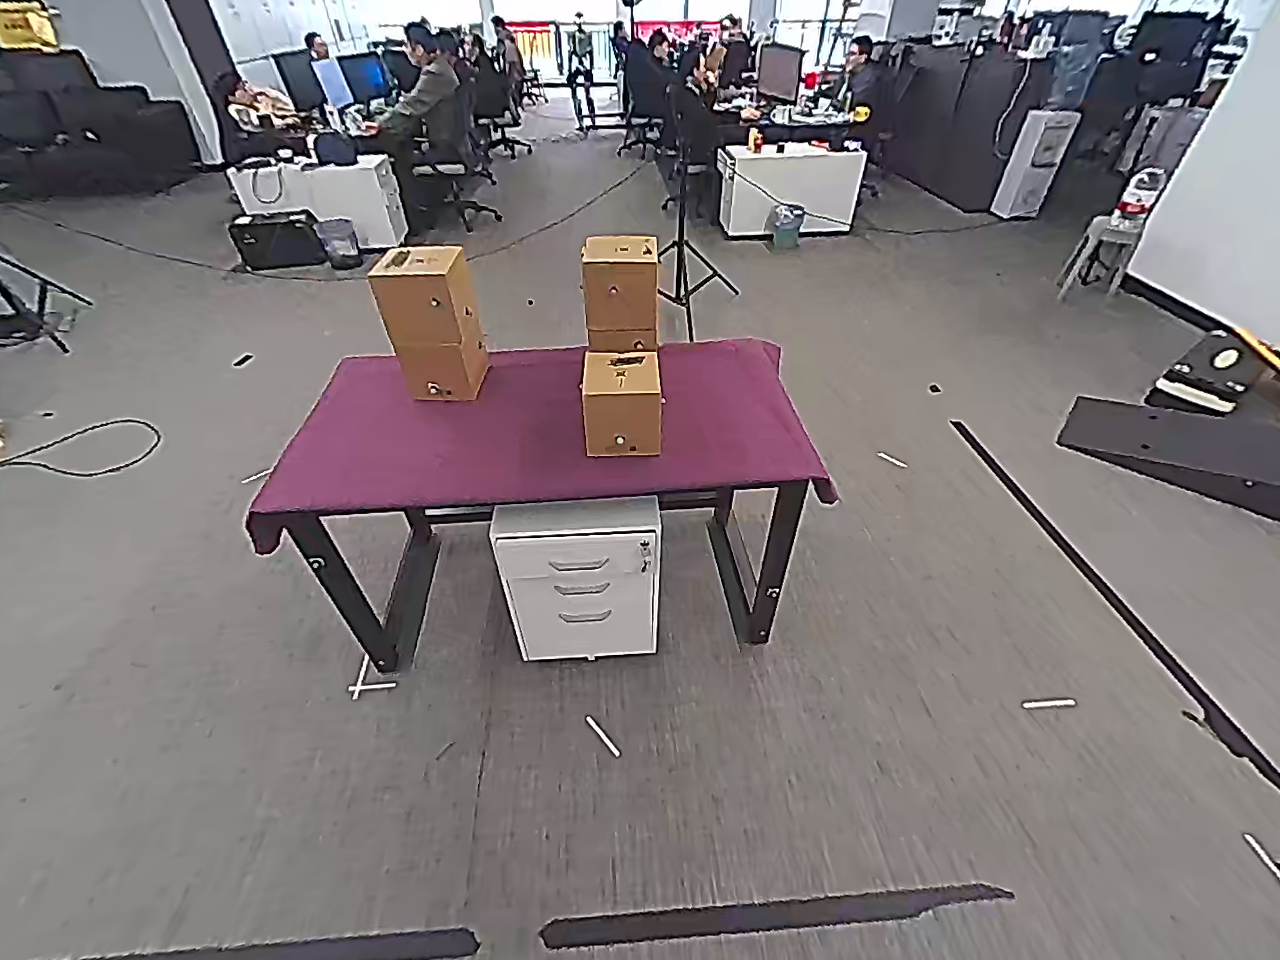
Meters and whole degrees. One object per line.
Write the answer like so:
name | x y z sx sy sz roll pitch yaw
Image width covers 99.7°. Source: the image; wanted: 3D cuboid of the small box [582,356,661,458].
small box | -0.040 -0.167 1.232 0.168 0.176 0.179 -2 41 -1

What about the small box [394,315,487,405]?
small box | -0.507 -0.313 1.406 0.168 0.176 0.179 -1 44 2

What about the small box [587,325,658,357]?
small box | -0.045 -0.356 1.444 0.179 0.176 0.168 -2 42 0

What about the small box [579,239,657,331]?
small box | -0.048 -0.478 1.335 0.179 0.176 0.168 -1 43 1
